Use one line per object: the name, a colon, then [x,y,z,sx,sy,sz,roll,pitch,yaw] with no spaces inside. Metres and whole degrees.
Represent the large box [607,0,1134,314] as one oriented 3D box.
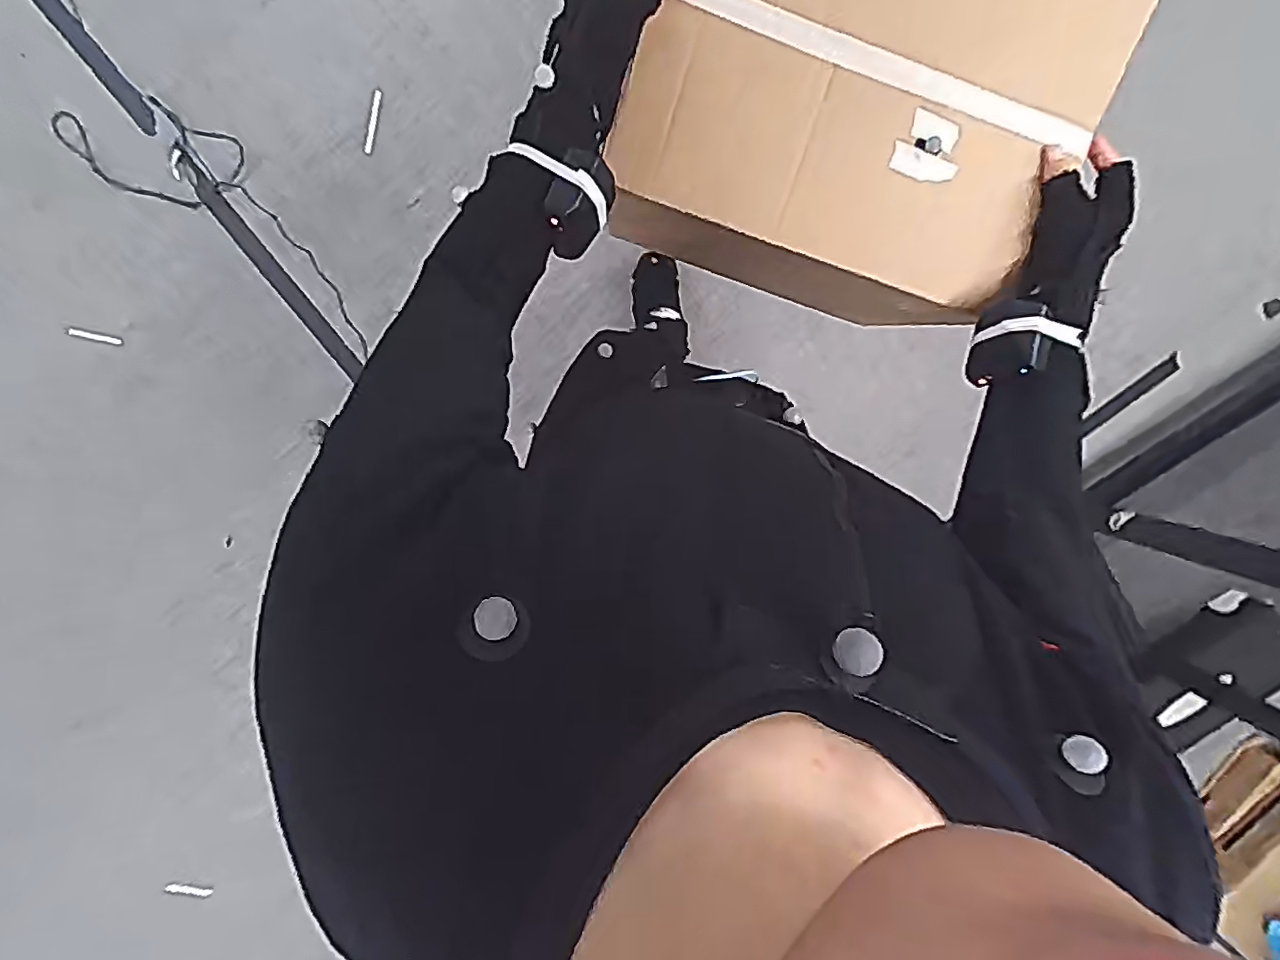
large box: [0.194,-0.401,0.615,0.408,0.320,0.320,17,106,-7]
